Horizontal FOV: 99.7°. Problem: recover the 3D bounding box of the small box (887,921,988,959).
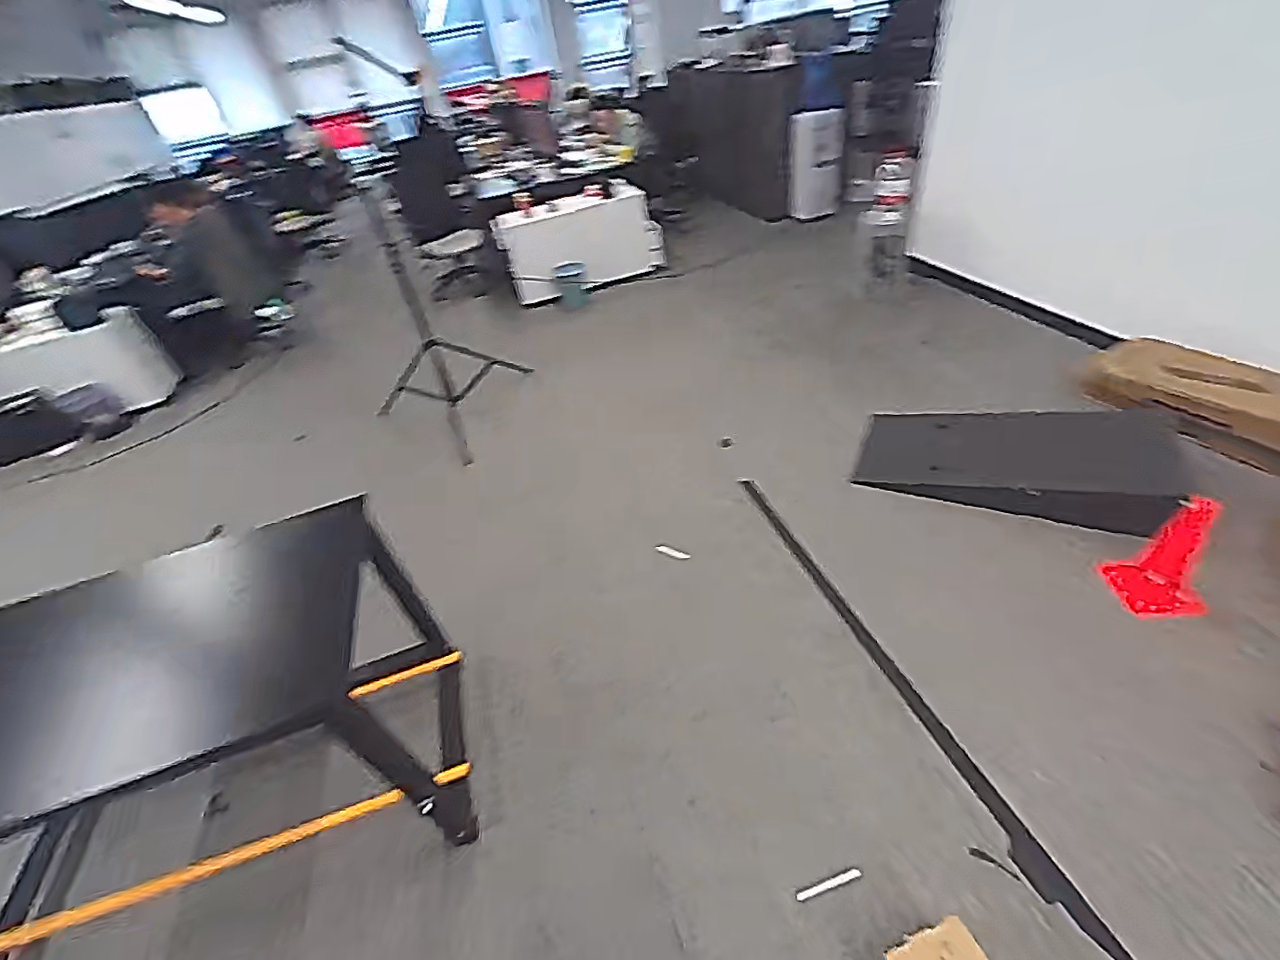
[{"bbox_3d":[0.567,0.958,0.987,0.168,0.176,0.179,-19,40,-10],"label":"small box"}]
